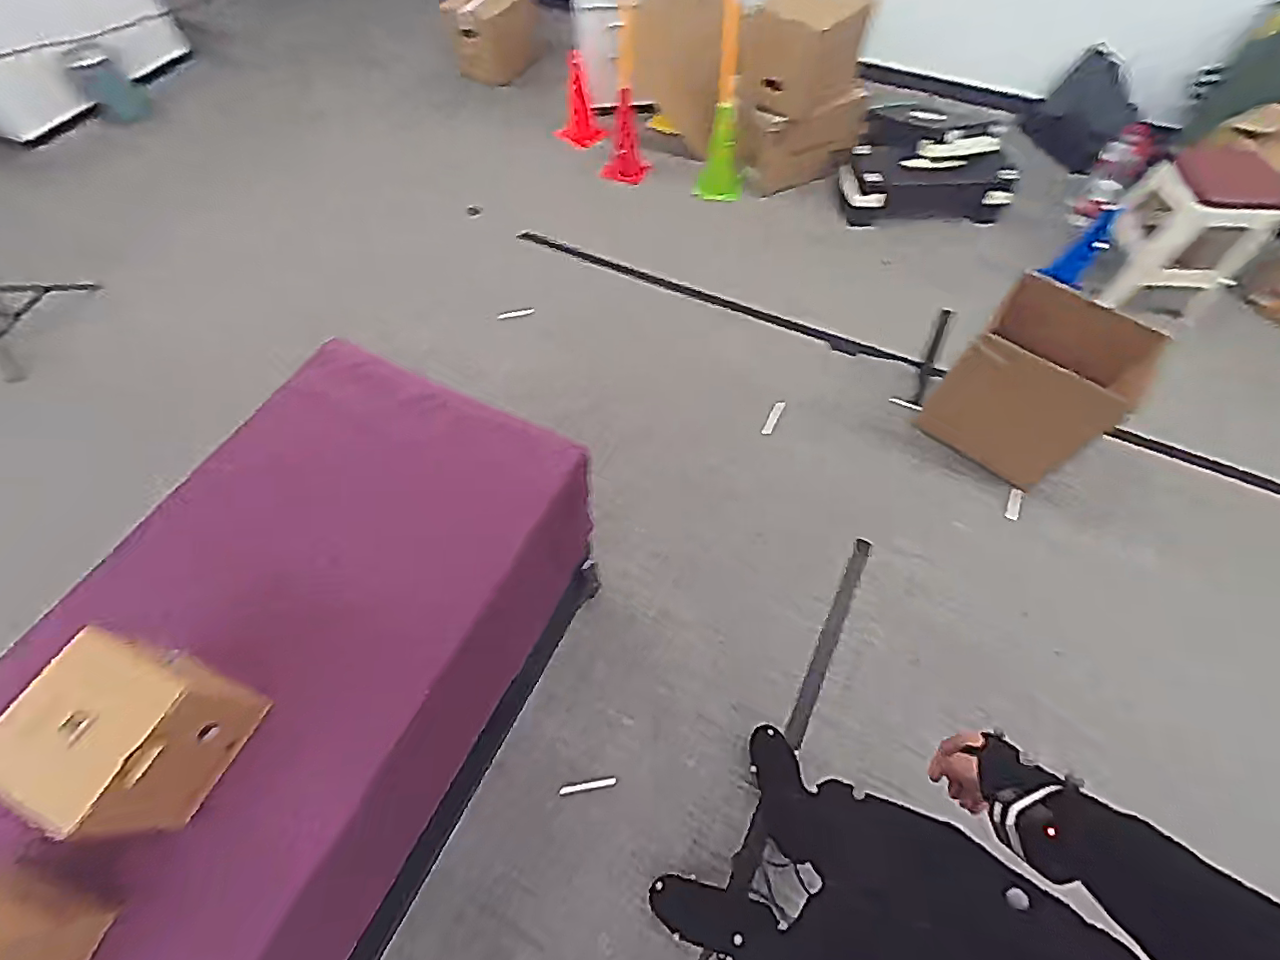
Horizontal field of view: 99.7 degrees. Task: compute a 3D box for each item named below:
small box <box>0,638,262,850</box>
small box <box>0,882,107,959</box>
[{"bbox_3d":[-0.634,0.324,0.676,0.179,0.176,0.168,21,63,12],"label":"small box"},{"bbox_3d":[-0.738,0.542,0.555,0.179,0.176,0.168,15,63,9],"label":"small box"}]
